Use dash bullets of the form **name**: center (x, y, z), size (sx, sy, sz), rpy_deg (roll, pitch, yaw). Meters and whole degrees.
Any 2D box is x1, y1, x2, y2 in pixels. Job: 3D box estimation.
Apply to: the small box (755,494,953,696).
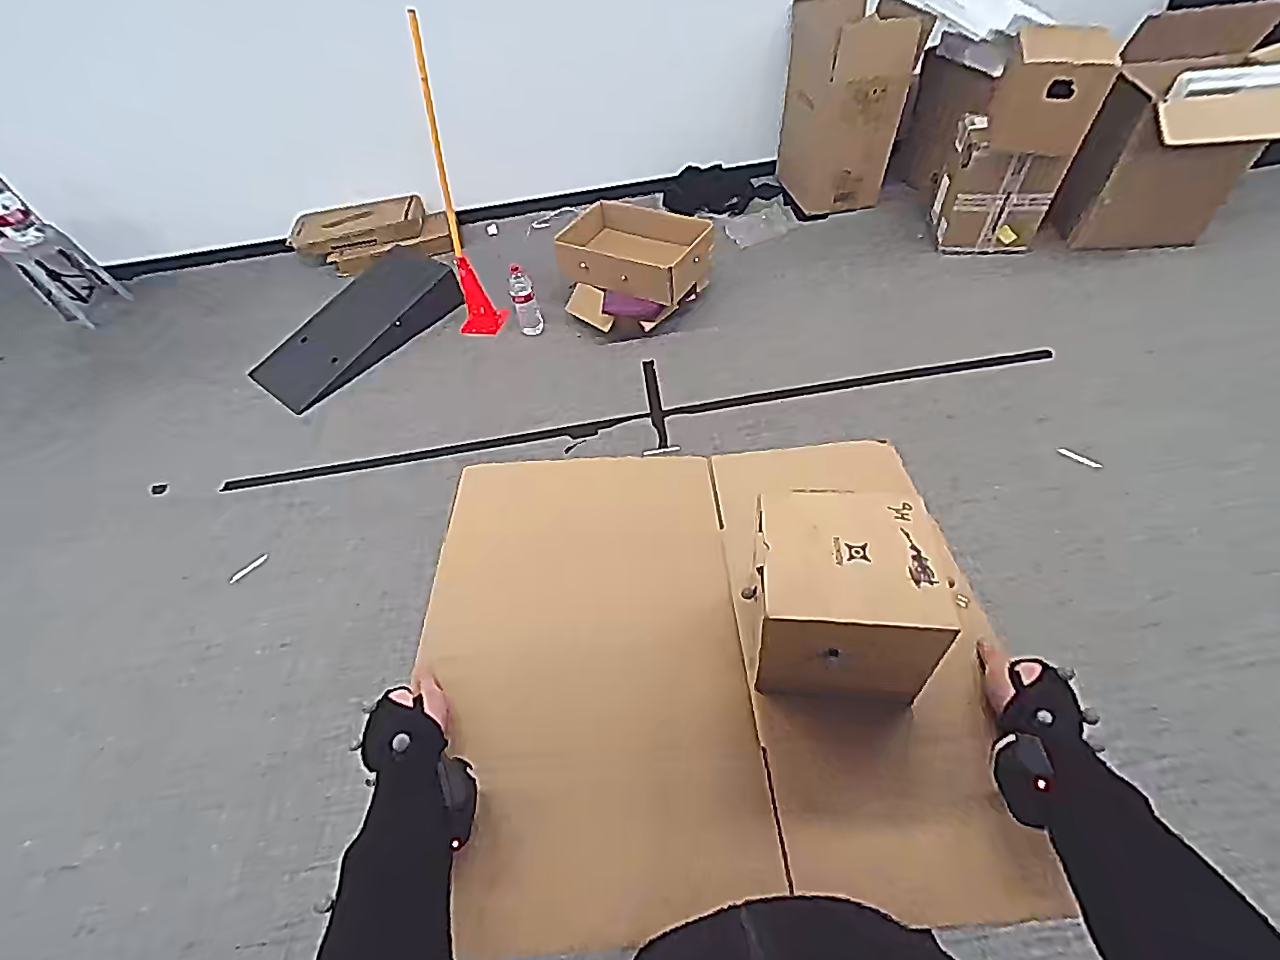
- **small box**: center (0.222, 0.132, 0.617), size (0.179, 0.176, 0.168), rpy_deg (0, 48, 10)
